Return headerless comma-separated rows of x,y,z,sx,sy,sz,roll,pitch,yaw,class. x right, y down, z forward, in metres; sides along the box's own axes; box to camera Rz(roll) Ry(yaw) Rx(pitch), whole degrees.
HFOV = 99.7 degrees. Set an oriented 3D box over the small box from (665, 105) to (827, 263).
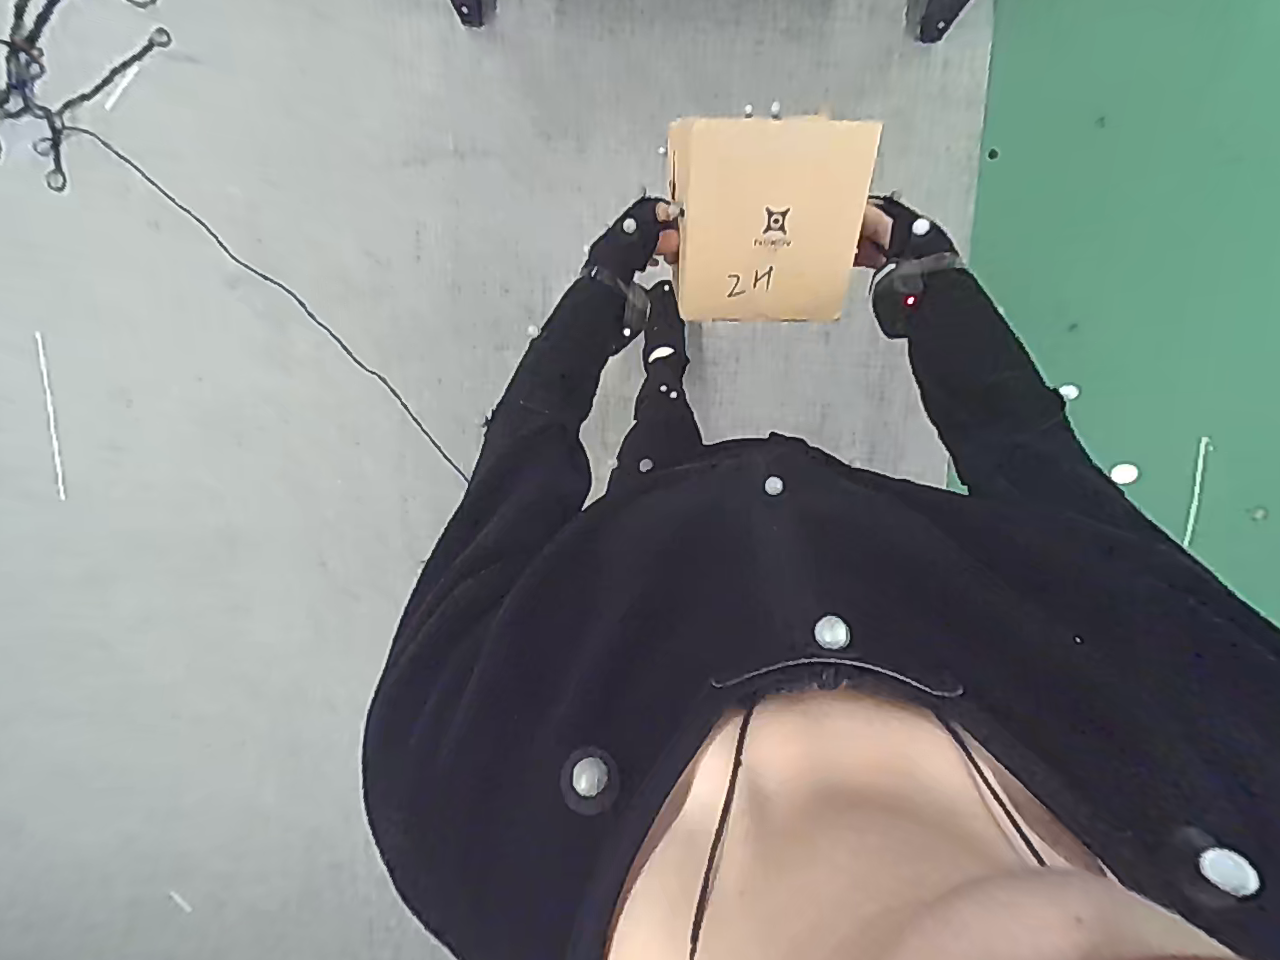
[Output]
0.122,-0.384,0.705,0.179,0.176,0.168,-1,123,1,small box
